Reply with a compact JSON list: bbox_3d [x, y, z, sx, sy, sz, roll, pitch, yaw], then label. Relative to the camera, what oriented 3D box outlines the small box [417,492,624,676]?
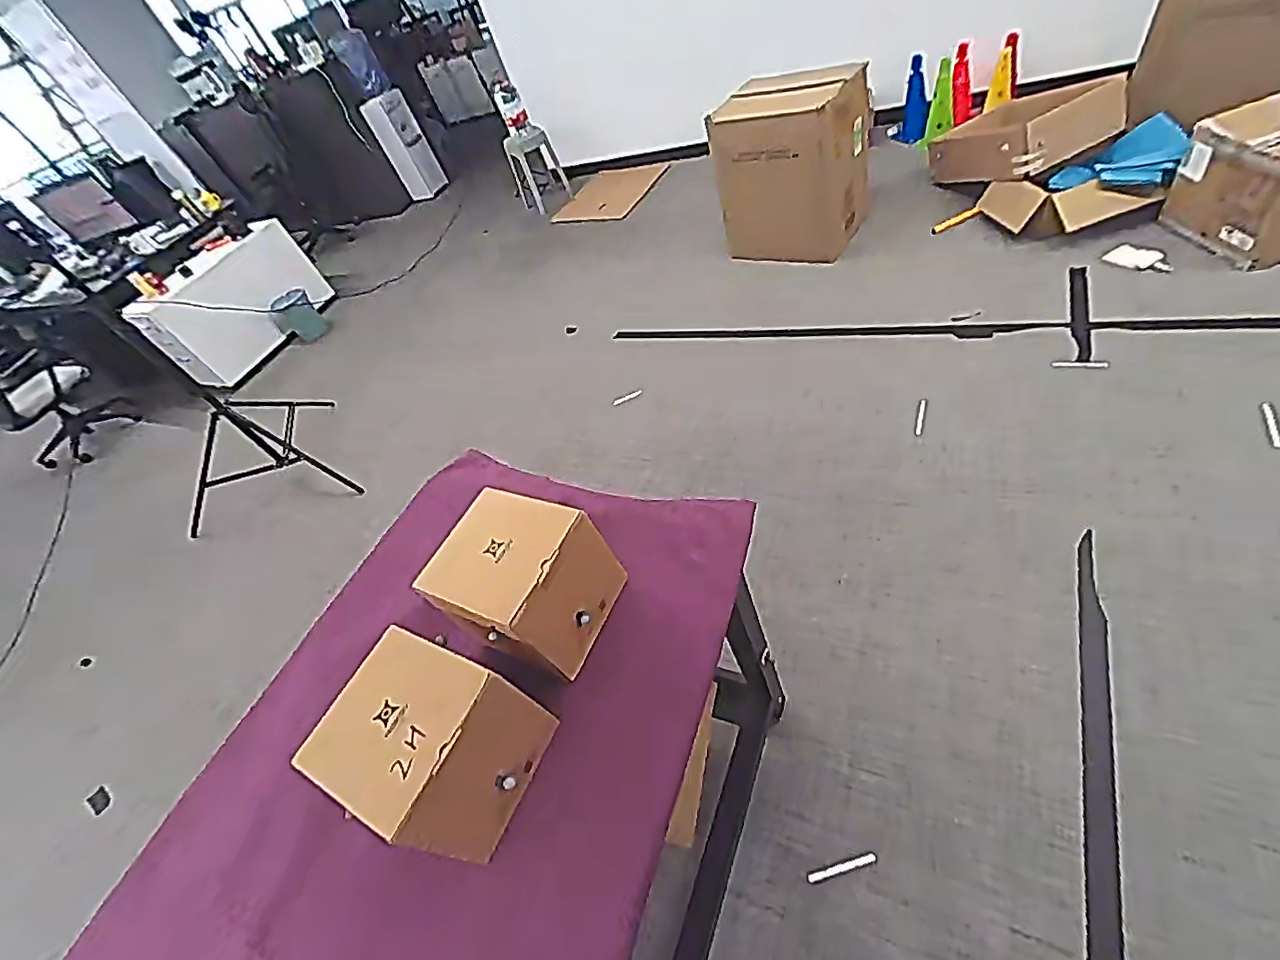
[{"bbox_3d":[-0.151,0.141,0.732,0.179,0.176,0.168,10,56,31],"label":"small box"}]

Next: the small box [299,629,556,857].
[{"bbox_3d":[-0.231,0.302,0.623,0.179,0.176,0.168,10,56,31],"label":"small box"}]
